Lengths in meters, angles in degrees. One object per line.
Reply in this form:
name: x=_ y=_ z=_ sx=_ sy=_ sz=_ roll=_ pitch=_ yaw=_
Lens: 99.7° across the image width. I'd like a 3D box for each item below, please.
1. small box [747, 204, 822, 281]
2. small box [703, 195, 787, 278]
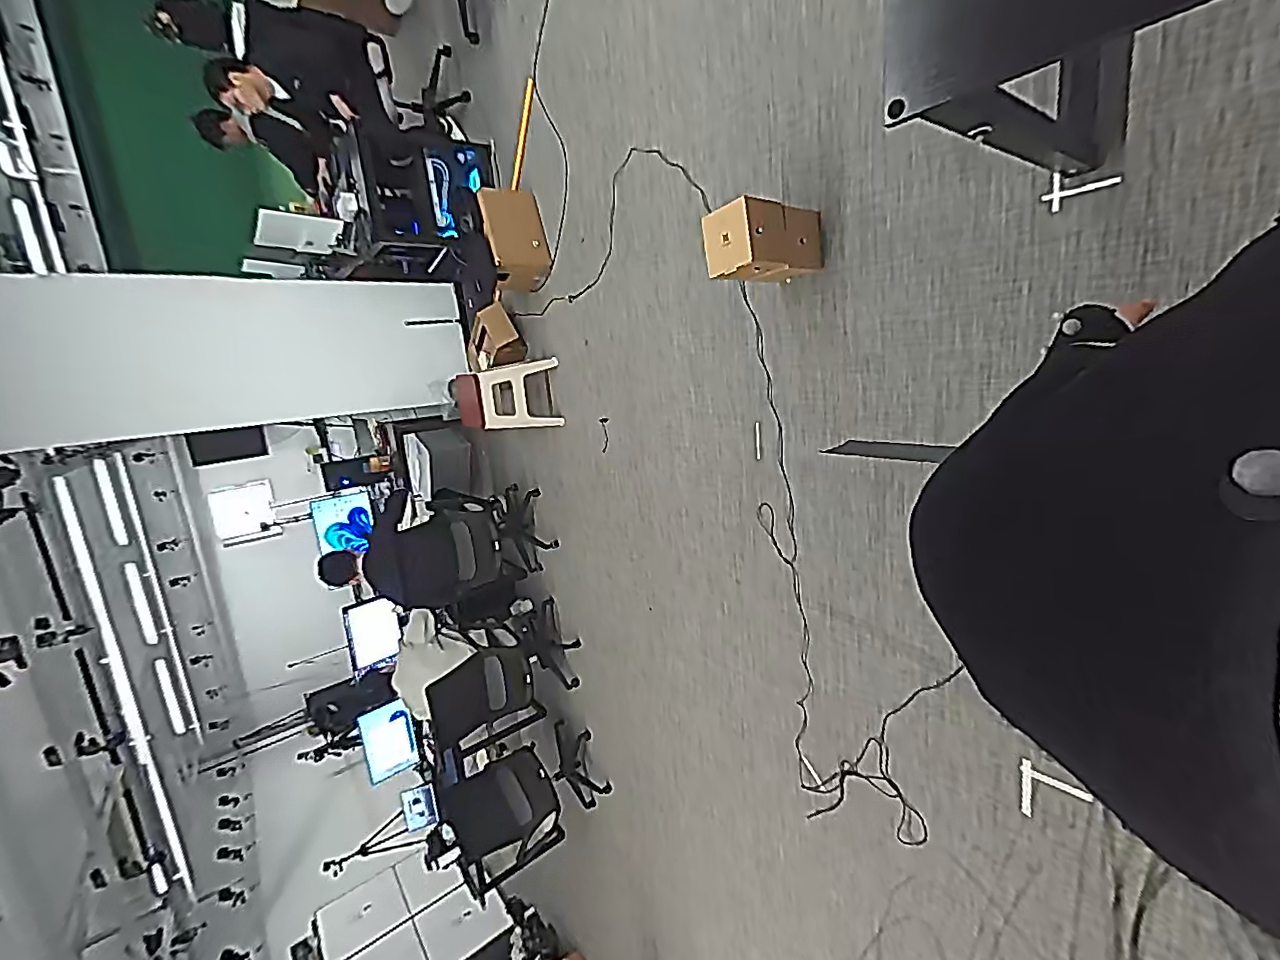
small box: x=0.435 y=-0.716 z=1.648 sx=0.168 sy=0.176 sz=0.179 roll=5 pitch=106 yaw=53
small box: x=0.306 y=-0.689 z=1.552 sx=0.168 sy=0.176 sz=0.179 roll=0 pitch=100 yaw=53
